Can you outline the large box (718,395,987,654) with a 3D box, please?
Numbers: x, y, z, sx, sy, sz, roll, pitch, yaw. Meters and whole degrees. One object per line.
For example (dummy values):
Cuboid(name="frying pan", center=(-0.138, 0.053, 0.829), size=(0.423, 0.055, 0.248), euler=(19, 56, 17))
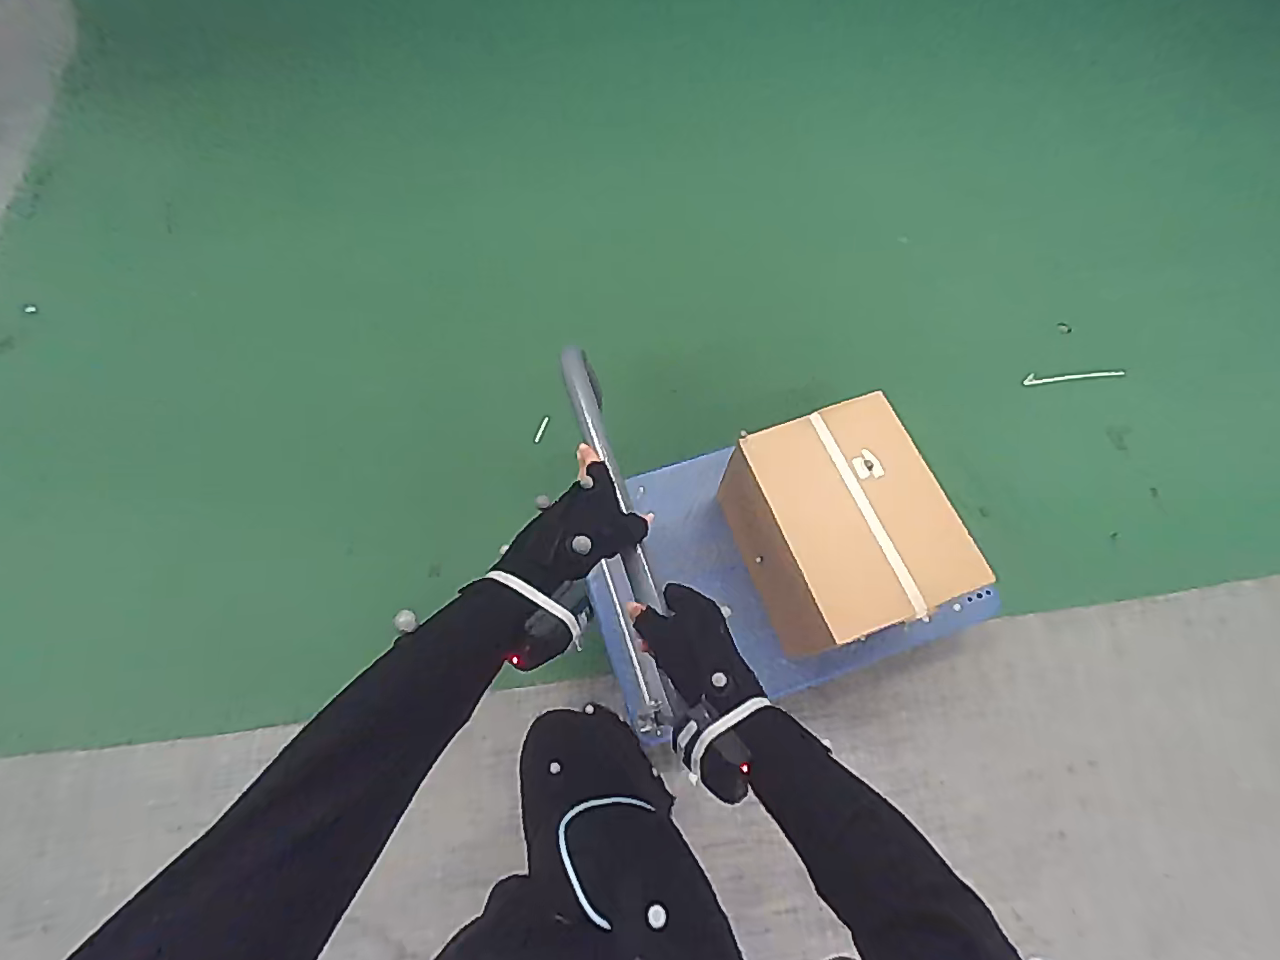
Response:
Cuboid(name="large box", center=(0.396, 0.105, 1.127), size=(0.320, 0.320, 0.408), euler=(-19, 69, -8))
